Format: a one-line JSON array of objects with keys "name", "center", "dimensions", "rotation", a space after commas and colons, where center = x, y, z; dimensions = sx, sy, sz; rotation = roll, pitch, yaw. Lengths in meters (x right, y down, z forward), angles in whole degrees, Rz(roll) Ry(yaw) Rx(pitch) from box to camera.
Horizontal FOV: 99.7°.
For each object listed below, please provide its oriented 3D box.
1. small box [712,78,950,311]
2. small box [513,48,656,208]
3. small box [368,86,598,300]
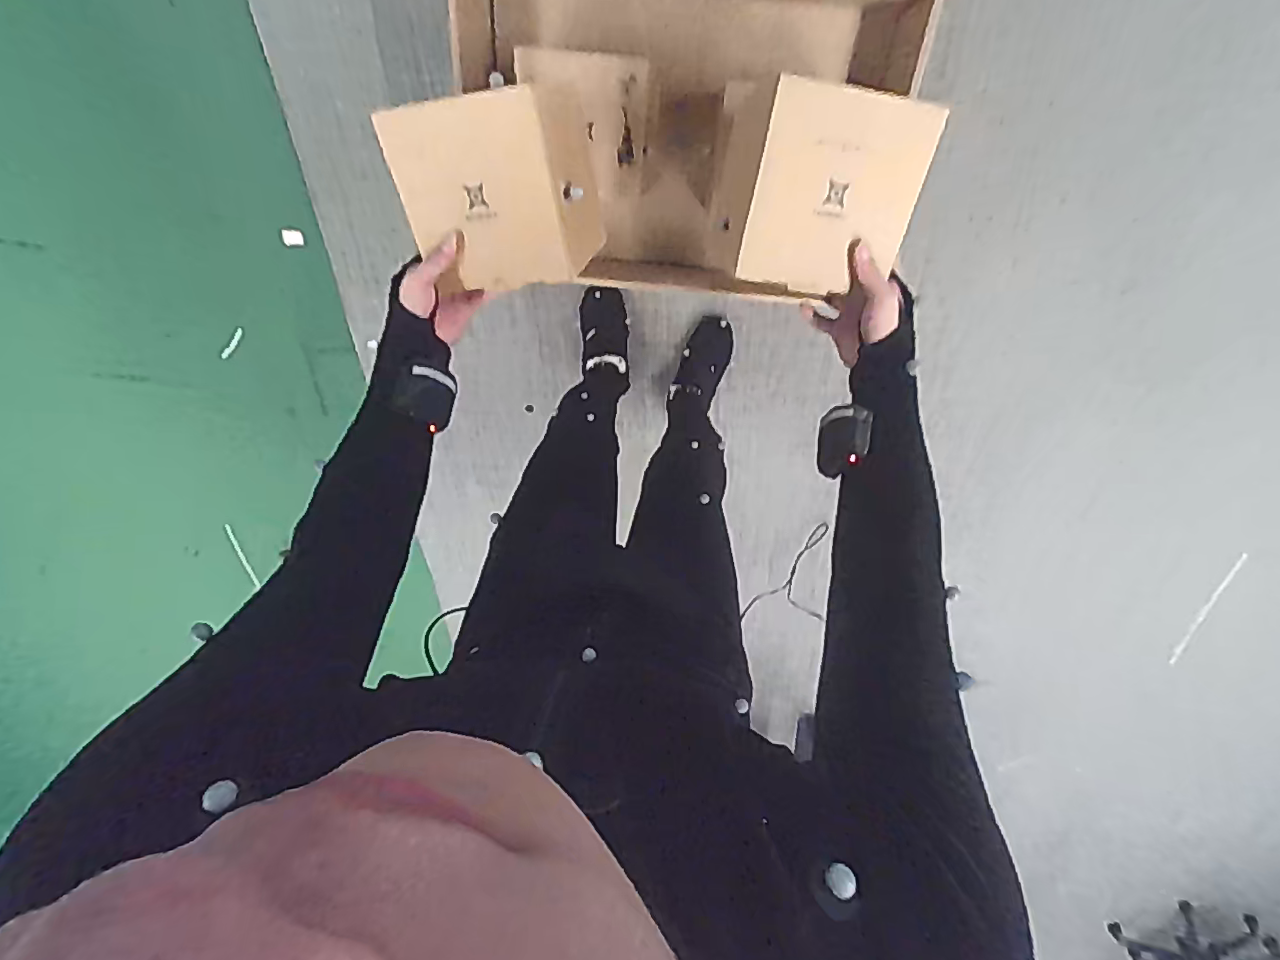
[{"name": "small box", "center": [0.182, -0.301, 0.585], "dimensions": [0.168, 0.176, 0.179], "rotation": [7, 118, -8]}, {"name": "small box", "center": [-0.076, -0.503, 0.788], "dimensions": [0.179, 0.176, 0.168], "rotation": [7, 121, 1]}, {"name": "small box", "center": [-0.153, -0.318, 0.598], "dimensions": [0.168, 0.176, 0.179], "rotation": [-1, 127, 12]}]
